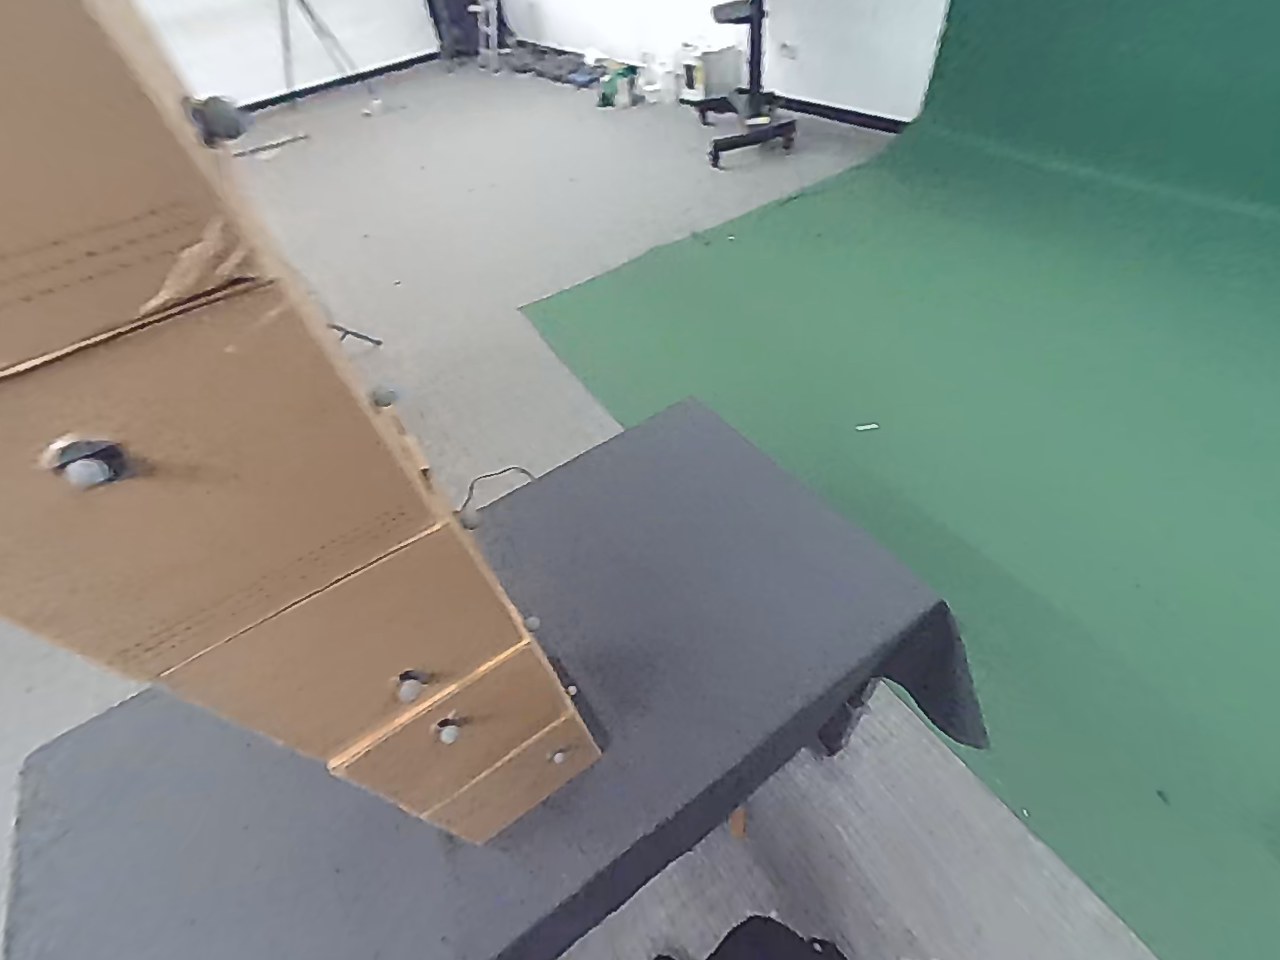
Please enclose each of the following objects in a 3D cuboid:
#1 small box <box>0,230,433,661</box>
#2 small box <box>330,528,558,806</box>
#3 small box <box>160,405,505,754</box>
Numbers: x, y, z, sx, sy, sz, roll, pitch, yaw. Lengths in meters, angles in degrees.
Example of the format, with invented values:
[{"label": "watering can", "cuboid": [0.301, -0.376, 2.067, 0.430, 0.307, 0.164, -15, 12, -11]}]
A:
[{"label": "small box", "cuboid": [-0.252, -0.031, 0.309, 0.179, 0.176, 0.168, -30, 51, -17]}, {"label": "small box", "cuboid": [-0.198, 0.188, 0.547, 0.179, 0.176, 0.168, -31, 51, -17]}, {"label": "small box", "cuboid": [-0.224, 0.077, 0.430, 0.179, 0.176, 0.168, -29, 50, -16]}]
